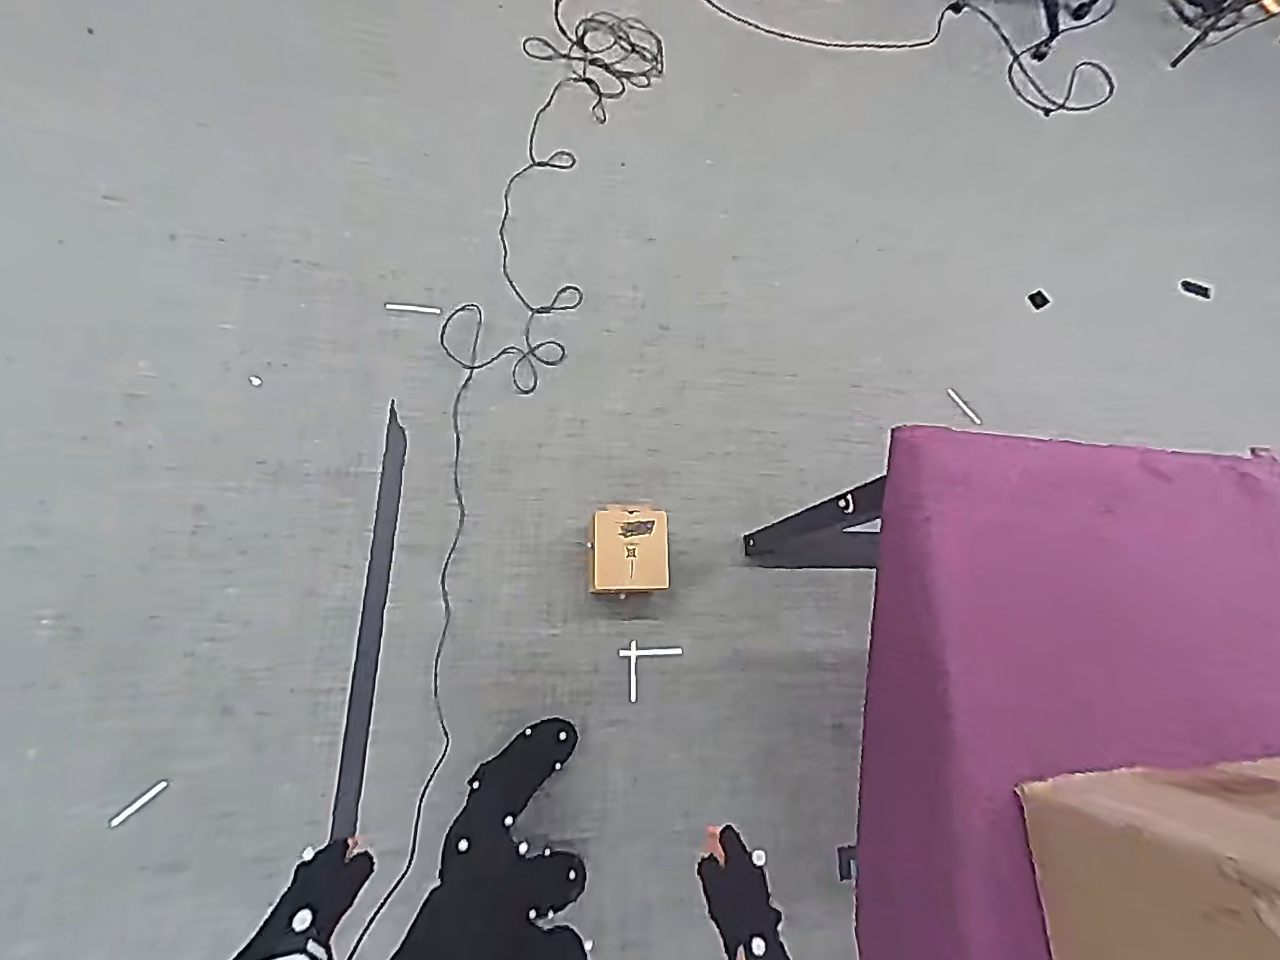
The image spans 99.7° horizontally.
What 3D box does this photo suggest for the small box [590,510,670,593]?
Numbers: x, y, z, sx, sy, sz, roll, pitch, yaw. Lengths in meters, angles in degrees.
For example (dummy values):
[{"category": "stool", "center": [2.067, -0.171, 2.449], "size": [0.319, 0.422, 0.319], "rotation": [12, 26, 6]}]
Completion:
[{"category": "small box", "center": [-0.030, 0.172, 1.269], "size": [0.168, 0.176, 0.179], "rotation": [1, 76, -9]}]
